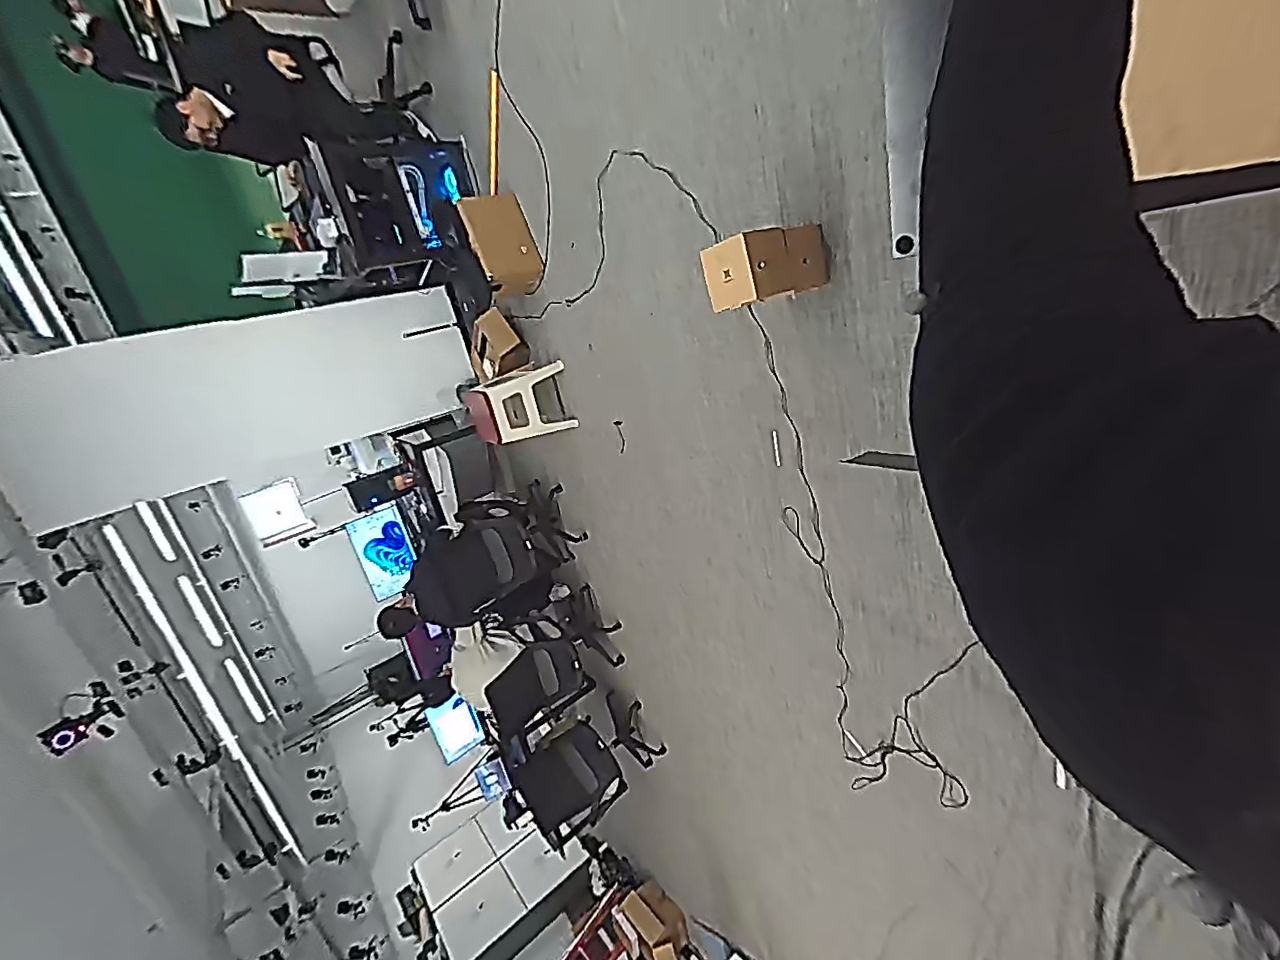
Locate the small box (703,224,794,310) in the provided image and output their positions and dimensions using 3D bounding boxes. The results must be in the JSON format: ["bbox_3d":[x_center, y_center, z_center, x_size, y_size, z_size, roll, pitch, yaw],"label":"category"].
[{"bbox_3d":[0.306,-0.593,1.509,0.168,0.176,0.179,3,112,54],"label":"small box"}]

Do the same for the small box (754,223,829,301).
[{"bbox_3d":[0.433,-0.645,1.597,0.168,0.176,0.179,7,117,54],"label":"small box"}]
